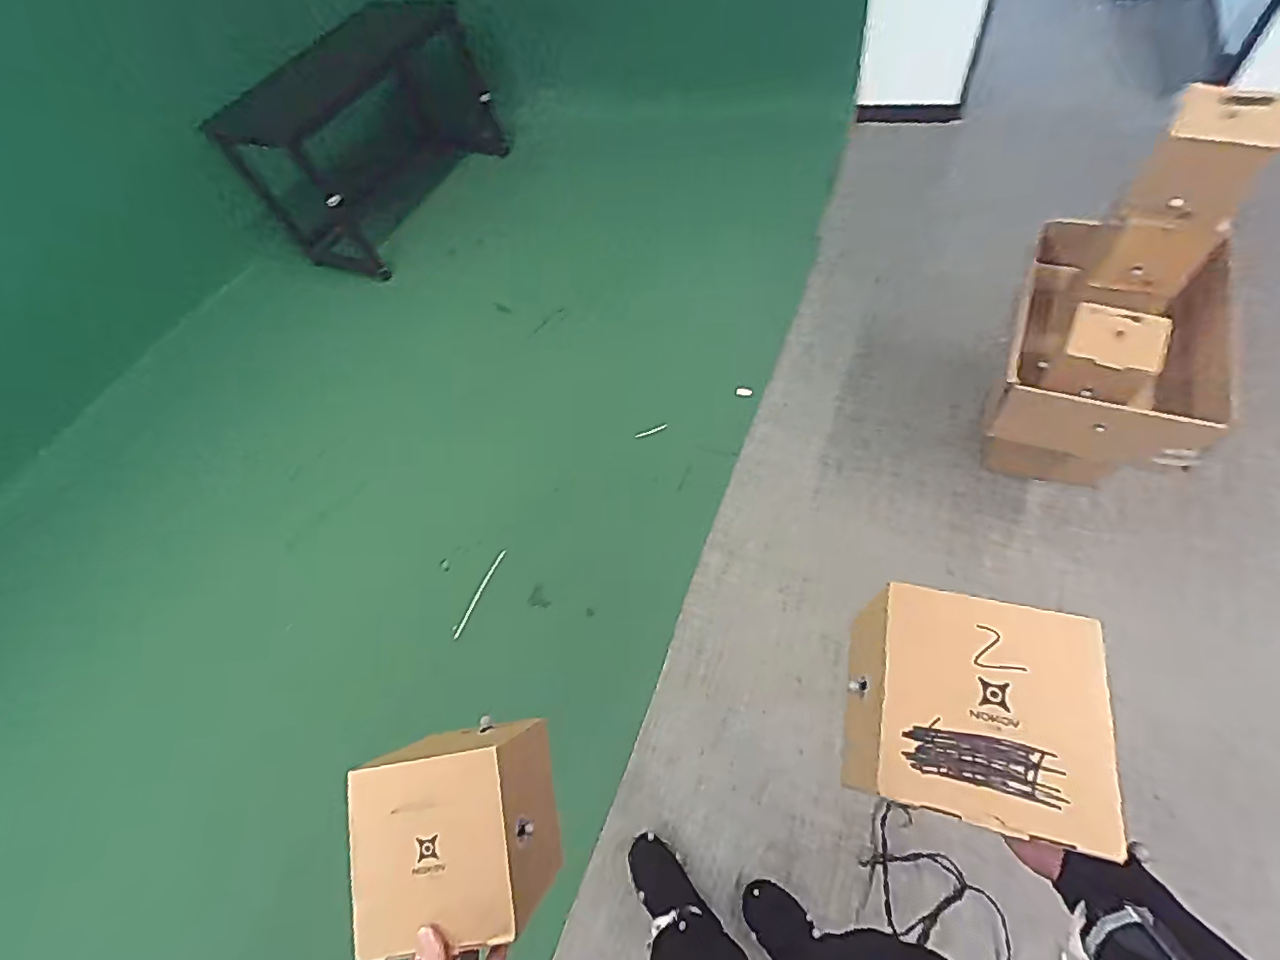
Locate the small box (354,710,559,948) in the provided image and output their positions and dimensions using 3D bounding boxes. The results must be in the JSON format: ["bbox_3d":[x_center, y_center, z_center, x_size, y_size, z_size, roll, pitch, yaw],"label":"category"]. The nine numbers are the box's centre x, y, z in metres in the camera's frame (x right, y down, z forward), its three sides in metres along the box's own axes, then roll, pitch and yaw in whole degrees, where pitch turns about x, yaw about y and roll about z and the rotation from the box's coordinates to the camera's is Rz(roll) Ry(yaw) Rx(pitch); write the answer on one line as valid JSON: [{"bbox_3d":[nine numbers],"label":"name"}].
[{"bbox_3d":[-0.199,0.381,0.621,0.168,0.176,0.179,-10,76,5],"label":"small box"}]

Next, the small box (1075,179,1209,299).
[{"bbox_3d":[1.117,-0.541,1.216,0.168,0.176,0.179,16,66,20],"label":"small box"}]

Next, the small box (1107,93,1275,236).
[{"bbox_3d":[1.085,-0.627,1.079,0.168,0.176,0.179,26,70,24],"label":"small box"}]

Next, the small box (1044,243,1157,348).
[{"bbox_3d":[1.147,-0.462,1.354,0.168,0.176,0.179,17,65,21],"label":"small box"}]
